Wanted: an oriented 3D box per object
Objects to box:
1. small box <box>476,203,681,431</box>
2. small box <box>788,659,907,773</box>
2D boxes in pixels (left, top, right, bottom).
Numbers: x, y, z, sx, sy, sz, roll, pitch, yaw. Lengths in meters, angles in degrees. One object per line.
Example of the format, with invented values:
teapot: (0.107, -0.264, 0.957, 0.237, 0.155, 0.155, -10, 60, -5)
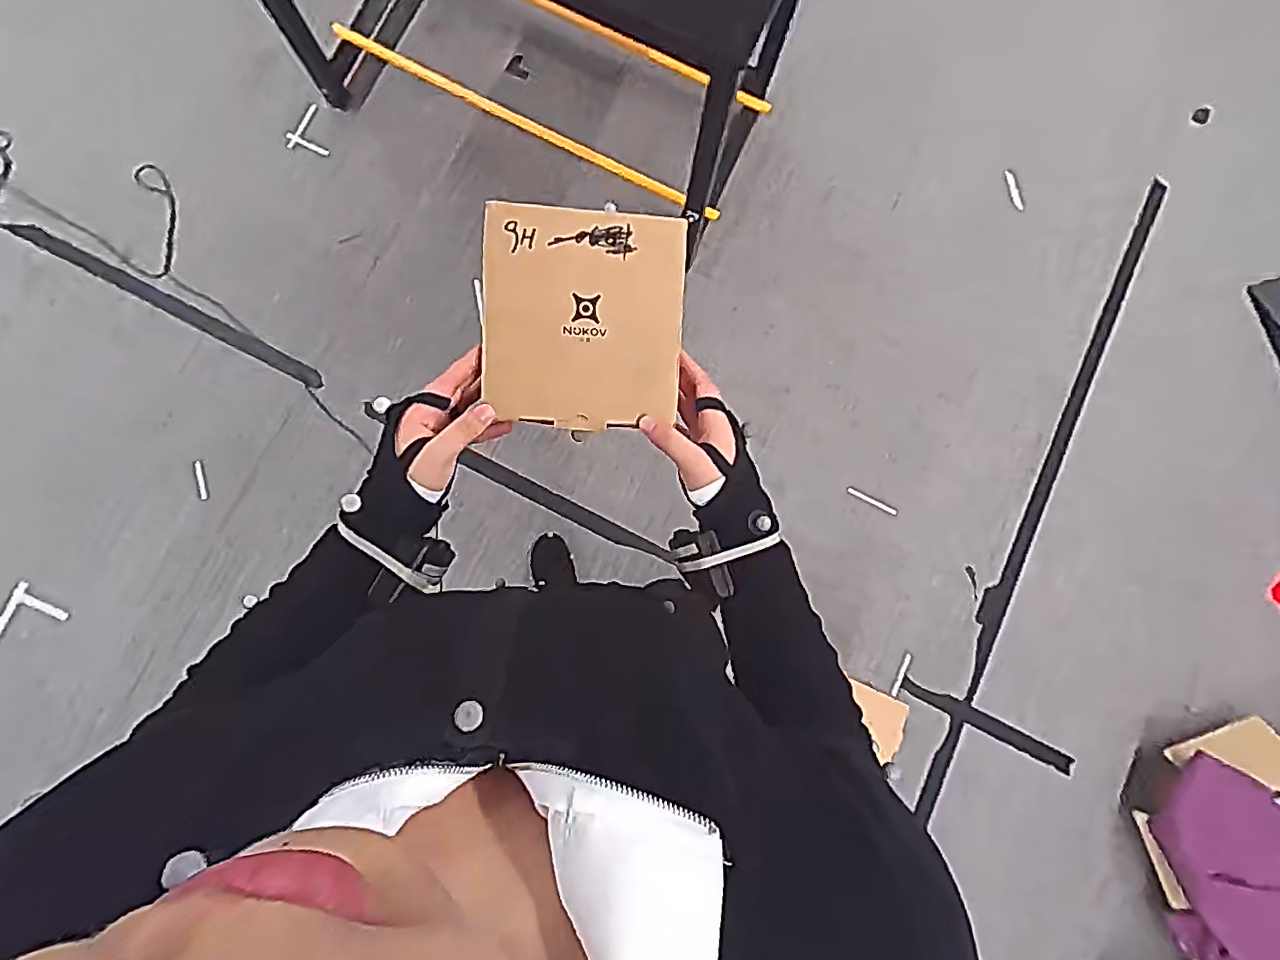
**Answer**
small box: (-0.059, -0.143, 0.527, 0.168, 0.176, 0.179, 2, 97, -6)
small box: (0.474, 0.536, 1.256, 0.179, 0.176, 0.168, 24, 82, 1)
